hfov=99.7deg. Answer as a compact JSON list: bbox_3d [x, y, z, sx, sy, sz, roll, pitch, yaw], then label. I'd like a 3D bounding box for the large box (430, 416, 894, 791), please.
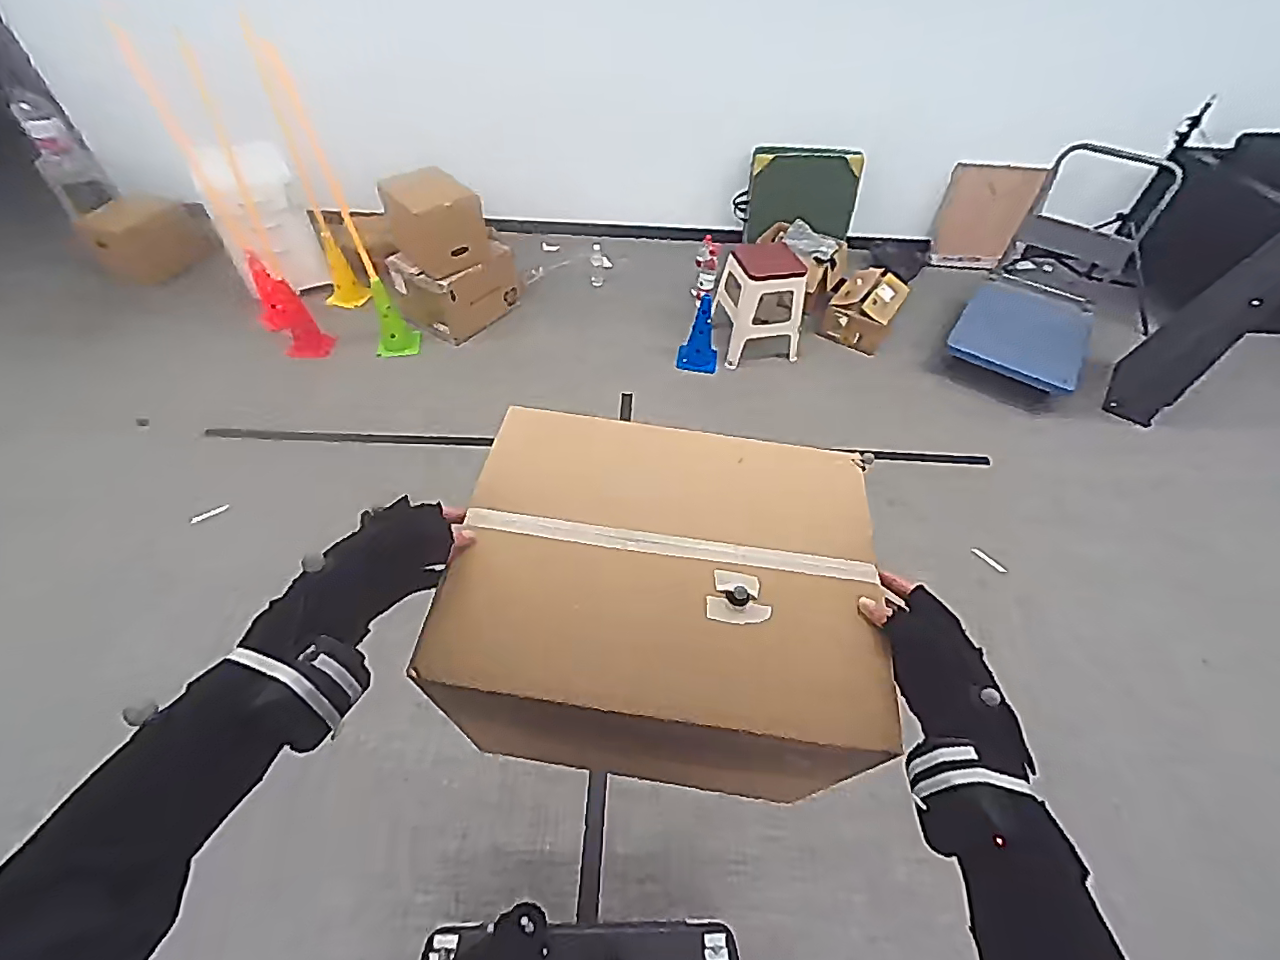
[{"bbox_3d":[0.023,0.159,0.659,0.408,0.320,0.320,9,54,2],"label":"large box"}]

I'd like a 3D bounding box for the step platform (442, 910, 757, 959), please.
[{"bbox_3d":[-0.086,1.094,1.136,0.684,0.204,0.286,1,49,-3],"label":"step platform"}]
